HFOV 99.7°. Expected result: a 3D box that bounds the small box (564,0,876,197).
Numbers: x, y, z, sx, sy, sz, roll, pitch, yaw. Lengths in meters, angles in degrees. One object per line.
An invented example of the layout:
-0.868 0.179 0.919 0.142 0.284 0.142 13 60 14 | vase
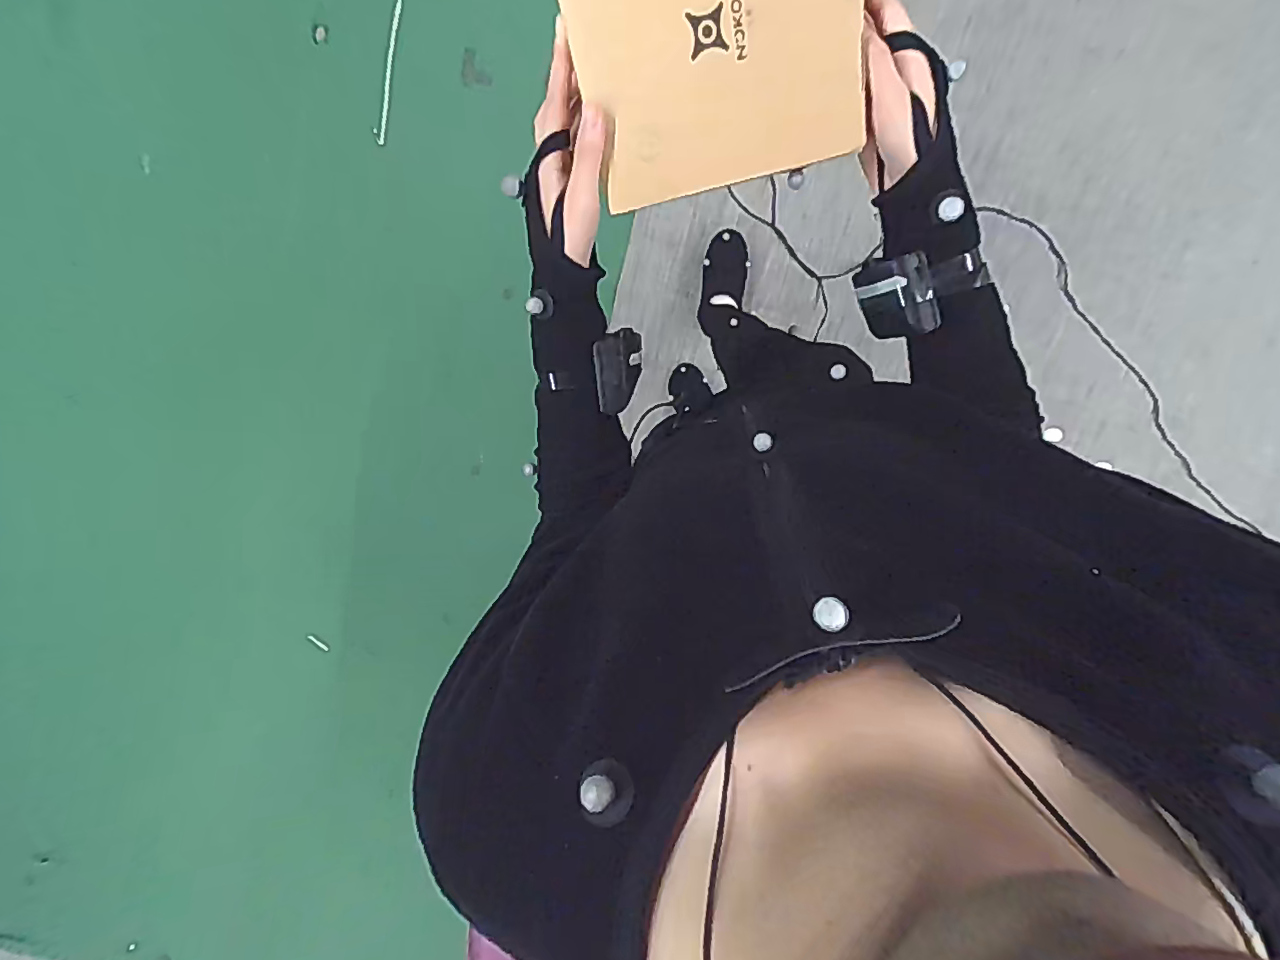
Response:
0.046 -0.310 0.383 0.179 0.176 0.168 -13 119 5 | small box
